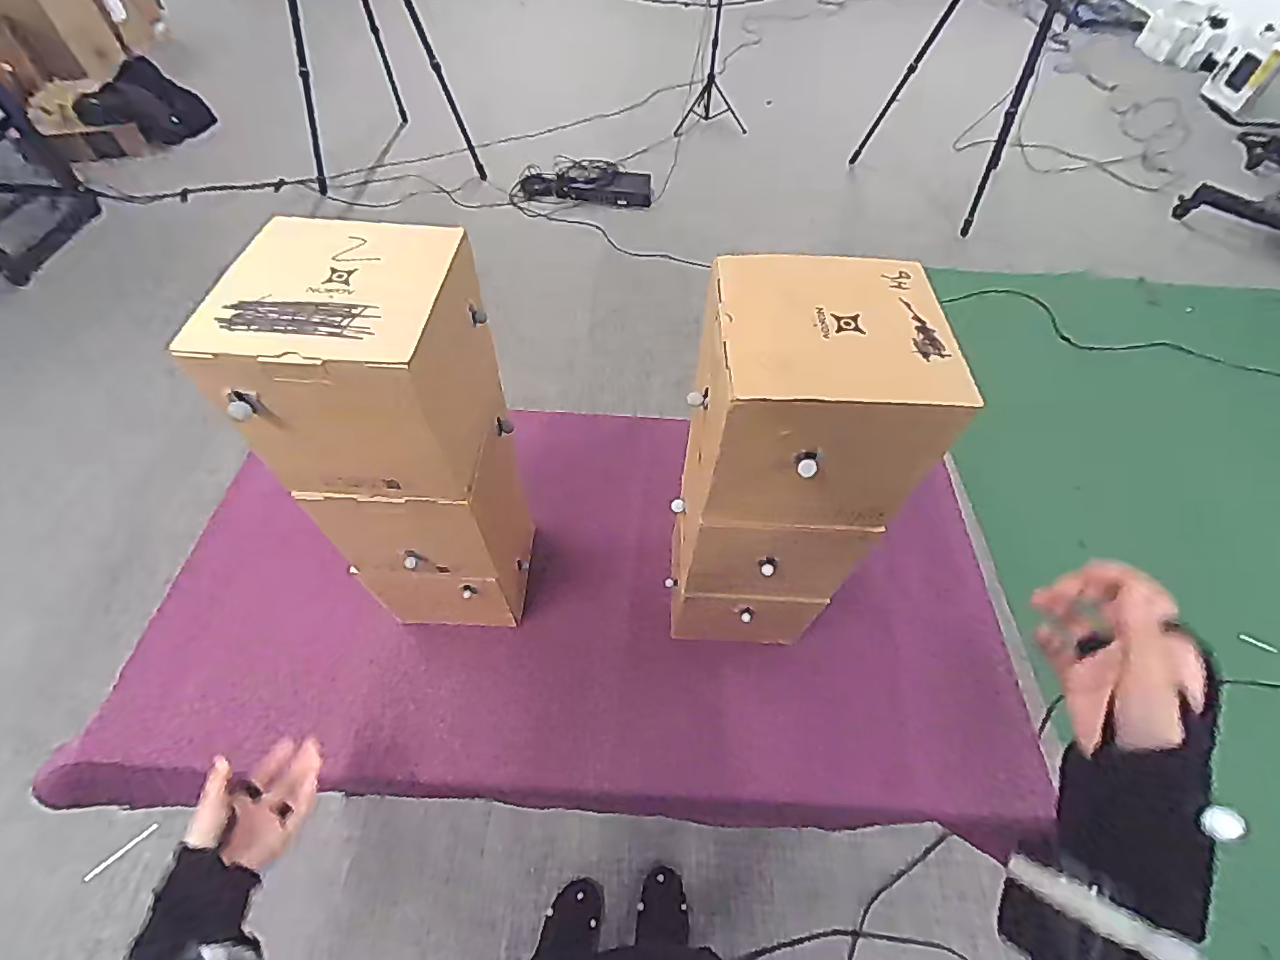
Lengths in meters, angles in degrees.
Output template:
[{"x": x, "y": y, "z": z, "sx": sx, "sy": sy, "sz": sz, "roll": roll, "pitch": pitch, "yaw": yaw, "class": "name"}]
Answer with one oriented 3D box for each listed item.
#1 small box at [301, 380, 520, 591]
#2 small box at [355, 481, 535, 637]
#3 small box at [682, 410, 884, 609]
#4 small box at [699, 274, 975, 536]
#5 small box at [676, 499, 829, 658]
[{"x": -0.239, "y": 0.008, "z": 0.620, "sx": 0.168, "sy": 0.176, "sz": 0.179, "roll": 2, "pitch": 53, "yaw": -1, "class": "small box"}, {"x": -0.252, "y": 0.110, "z": 0.750, "sx": 0.179, "sy": 0.176, "sz": 0.168, "roll": 2, "pitch": 54, "yaw": -1, "class": "small box"}, {"x": 0.143, "y": 0.038, "z": 0.612, "sx": 0.179, "sy": 0.176, "sz": 0.168, "roll": 2, "pitch": 54, "yaw": 1, "class": "small box"}, {"x": 0.146, "y": -0.061, "z": 0.481, "sx": 0.179, "sy": 0.176, "sz": 0.168, "roll": 1, "pitch": 55, "yaw": 0, "class": "small box"}, {"x": 0.140, "y": 0.138, "z": 0.744, "sx": 0.179, "sy": 0.176, "sz": 0.168, "roll": 2, "pitch": 55, "yaw": 1, "class": "small box"}]
